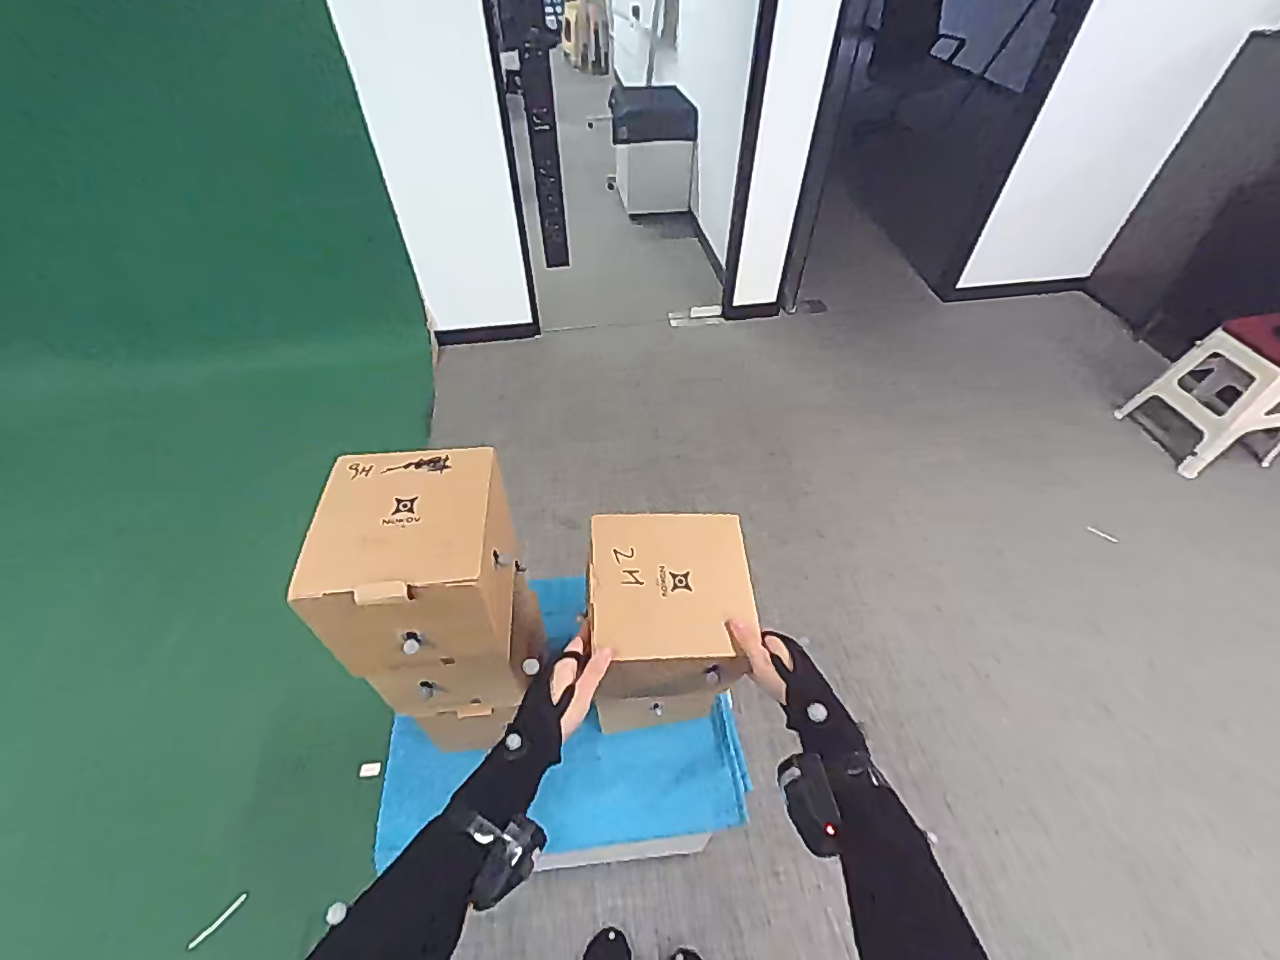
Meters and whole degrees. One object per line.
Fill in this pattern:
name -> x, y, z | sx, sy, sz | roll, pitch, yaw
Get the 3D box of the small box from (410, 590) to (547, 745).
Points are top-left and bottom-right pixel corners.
small box -> -0.234, 0.293, 0.832 | 0.168, 0.176, 0.179 | -3, 48, -6

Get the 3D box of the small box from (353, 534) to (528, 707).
small box -> -0.243, 0.185, 0.711 | 0.168, 0.176, 0.179 | -3, 47, -4

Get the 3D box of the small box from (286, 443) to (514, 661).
small box -> -0.233, 0.082, 0.583 | 0.168, 0.176, 0.179 | -2, 48, -5
